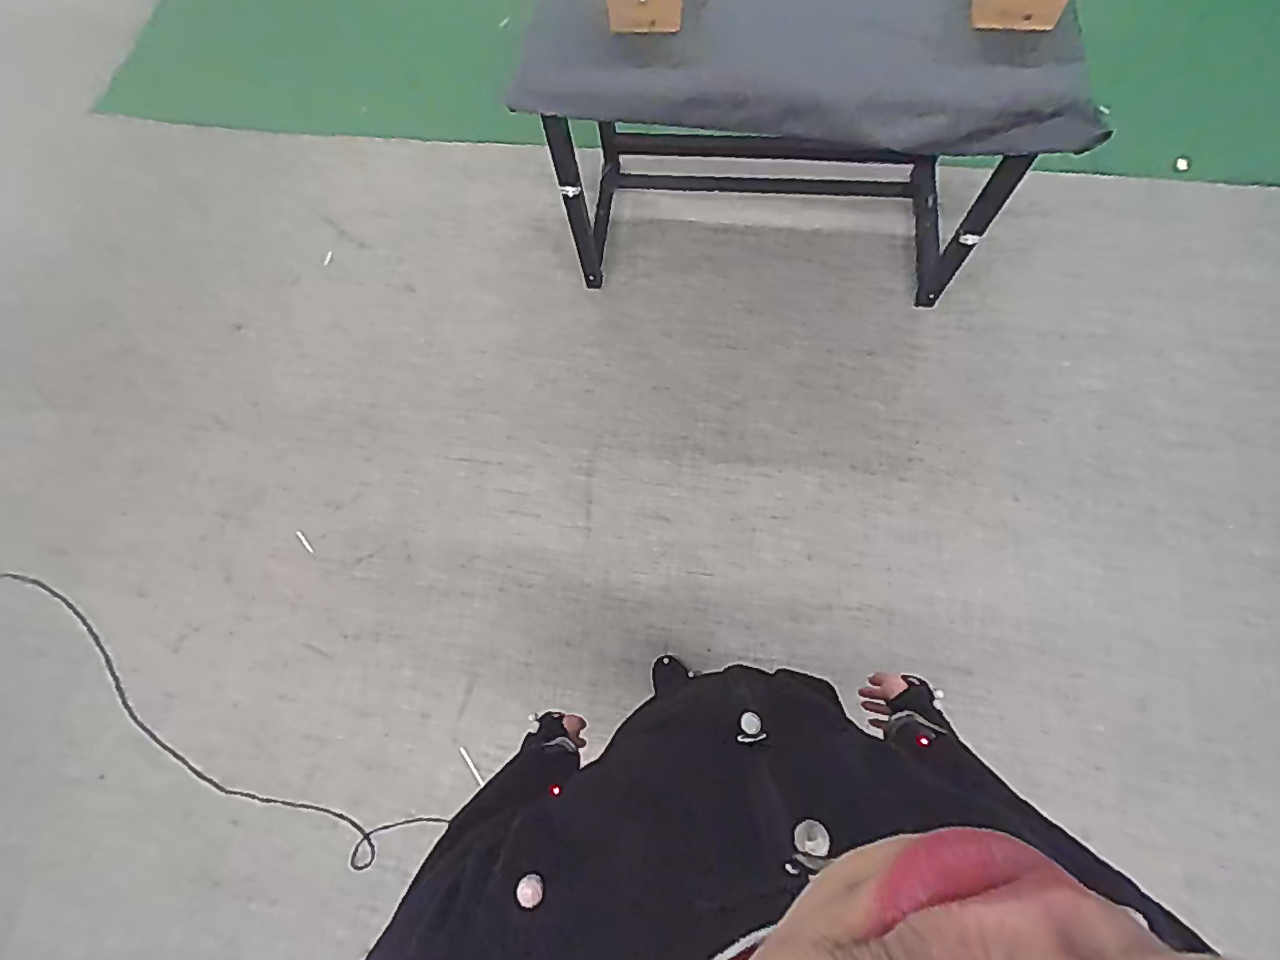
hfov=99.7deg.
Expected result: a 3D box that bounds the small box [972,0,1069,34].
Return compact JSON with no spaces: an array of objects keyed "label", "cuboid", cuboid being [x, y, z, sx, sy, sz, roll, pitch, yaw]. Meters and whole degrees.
[{"label":"small box","cuboid":[0.824,-1.081,1.133,0.168,0.176,0.179,9,72,7]}]

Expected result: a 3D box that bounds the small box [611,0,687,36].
[{"label":"small box","cuboid":[0.024,-1.150,1.223,0.168,0.176,0.179,5,73,6]}]
